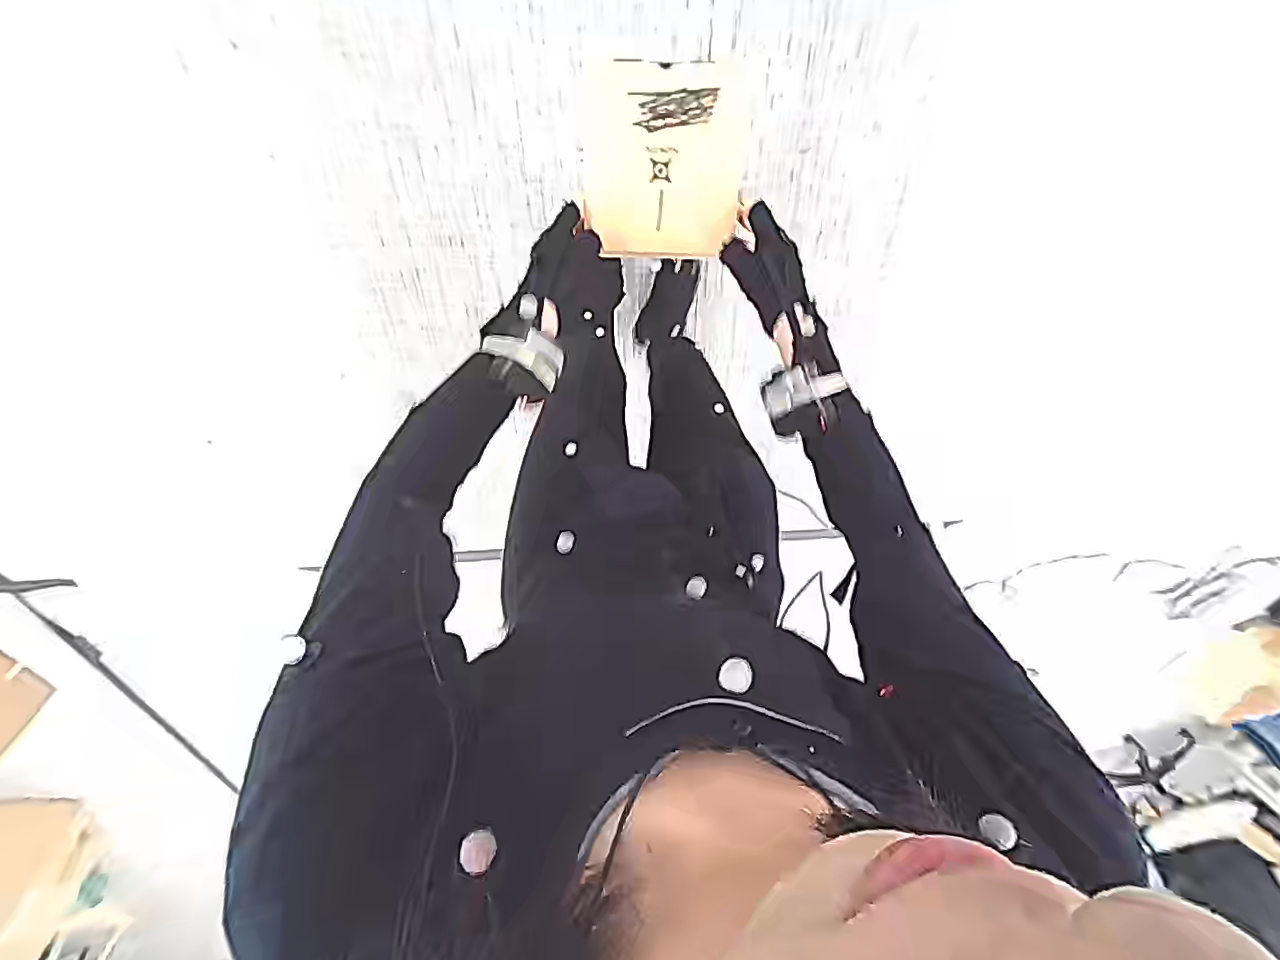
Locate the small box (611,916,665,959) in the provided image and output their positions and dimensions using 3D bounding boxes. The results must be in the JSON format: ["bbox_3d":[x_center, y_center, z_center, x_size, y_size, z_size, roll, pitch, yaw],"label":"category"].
[{"bbox_3d":[-0.009,1.573,1.792,0.168,0.176,0.179,-2,127,-6],"label":"small box"}]

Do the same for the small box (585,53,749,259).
[{"bbox_3d":[0.028,-0.364,0.637,0.168,0.176,0.179,3,109,3],"label":"small box"}]
